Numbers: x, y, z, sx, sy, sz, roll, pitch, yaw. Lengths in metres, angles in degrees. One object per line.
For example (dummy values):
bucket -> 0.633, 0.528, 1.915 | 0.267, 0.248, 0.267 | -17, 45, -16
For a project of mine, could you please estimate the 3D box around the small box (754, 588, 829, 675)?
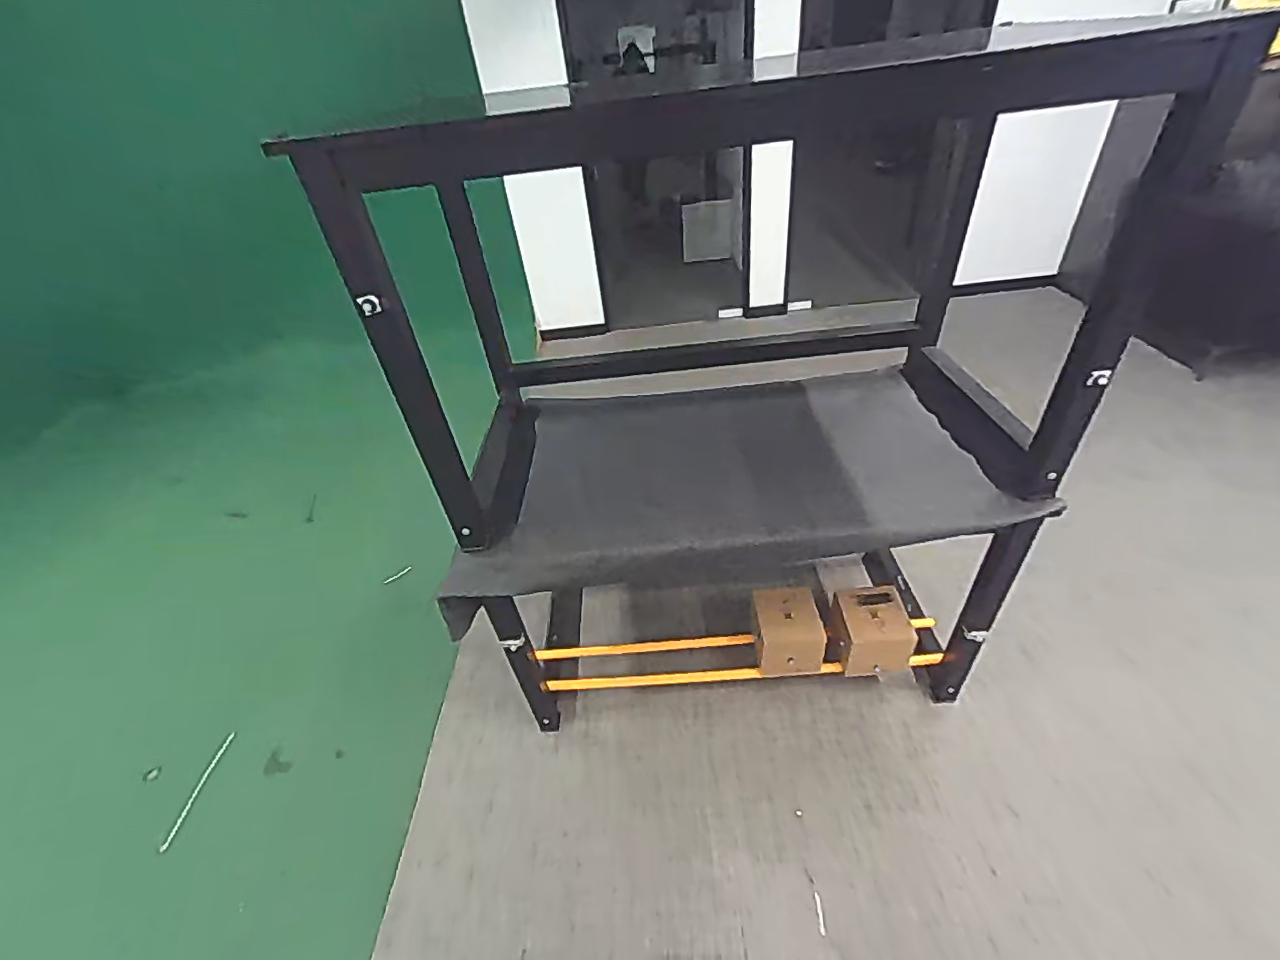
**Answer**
small box -> 0.417, 0.430, 1.514 | 0.168, 0.176, 0.179 | -5, 39, 3
